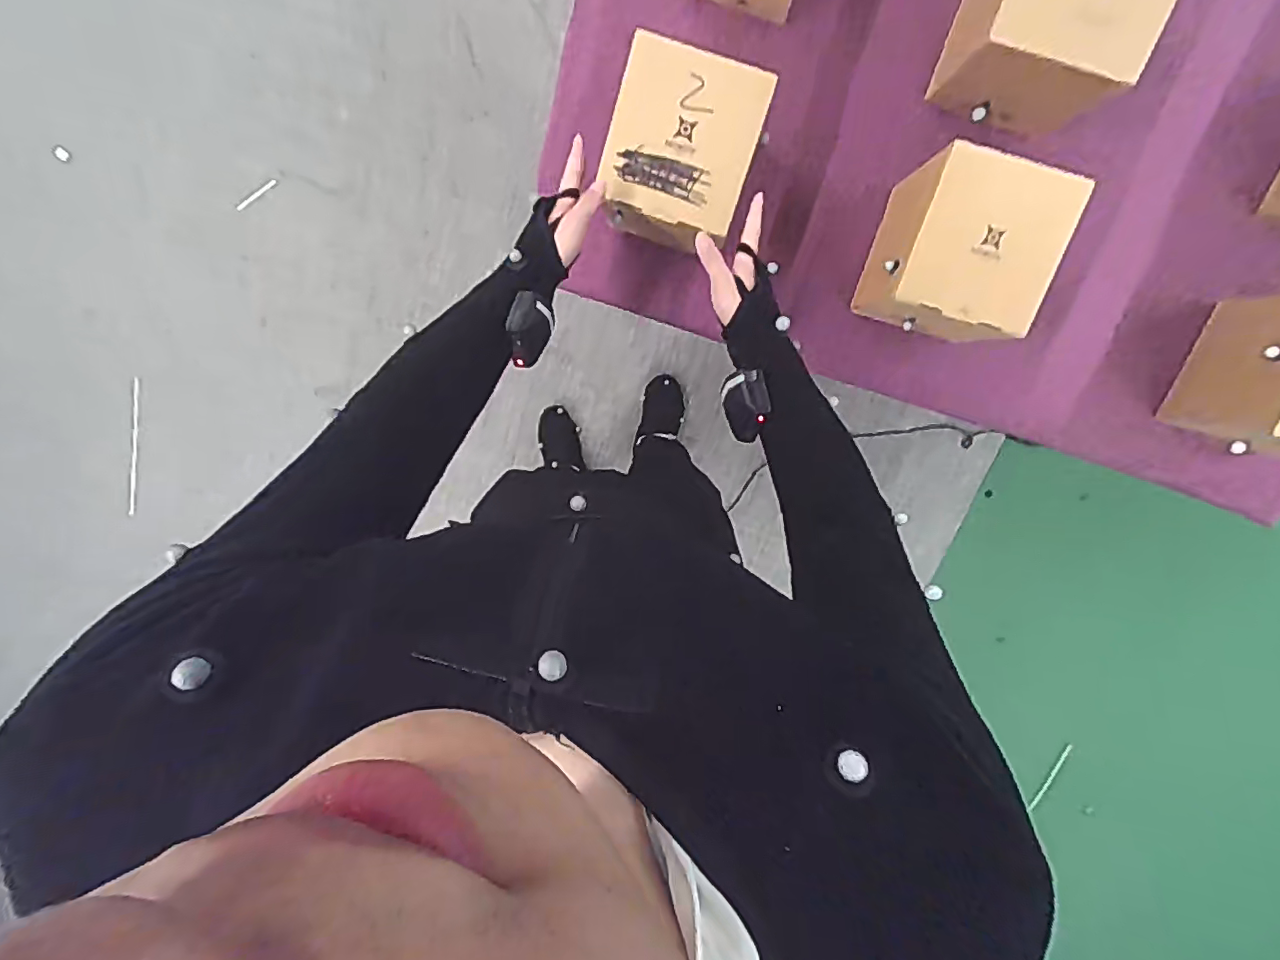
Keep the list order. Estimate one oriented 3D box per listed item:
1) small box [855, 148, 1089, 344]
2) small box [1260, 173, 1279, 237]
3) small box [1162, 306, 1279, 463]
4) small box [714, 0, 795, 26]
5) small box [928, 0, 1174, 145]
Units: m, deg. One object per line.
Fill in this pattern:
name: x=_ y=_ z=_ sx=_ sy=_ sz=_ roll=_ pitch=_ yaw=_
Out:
small box: x=0.404 y=-0.284 z=0.697 sx=0.168 sy=0.176 sz=0.179 roll=17 pitch=104 yaw=-1
small box: x=0.921 y=-0.380 z=0.634 sx=0.168 sy=0.176 sz=0.179 roll=17 pitch=104 yaw=1
small box: x=0.853 y=-0.119 z=0.699 sx=0.168 sy=0.176 sz=0.179 roll=19 pitch=104 yaw=1
small box: x=0.135 y=-0.675 z=0.615 sx=0.168 sy=0.176 sz=0.179 roll=19 pitch=106 yaw=-2
small box: x=0.474 y=-0.534 z=0.630 sx=0.168 sy=0.176 sz=0.179 roll=18 pitch=105 yaw=0
